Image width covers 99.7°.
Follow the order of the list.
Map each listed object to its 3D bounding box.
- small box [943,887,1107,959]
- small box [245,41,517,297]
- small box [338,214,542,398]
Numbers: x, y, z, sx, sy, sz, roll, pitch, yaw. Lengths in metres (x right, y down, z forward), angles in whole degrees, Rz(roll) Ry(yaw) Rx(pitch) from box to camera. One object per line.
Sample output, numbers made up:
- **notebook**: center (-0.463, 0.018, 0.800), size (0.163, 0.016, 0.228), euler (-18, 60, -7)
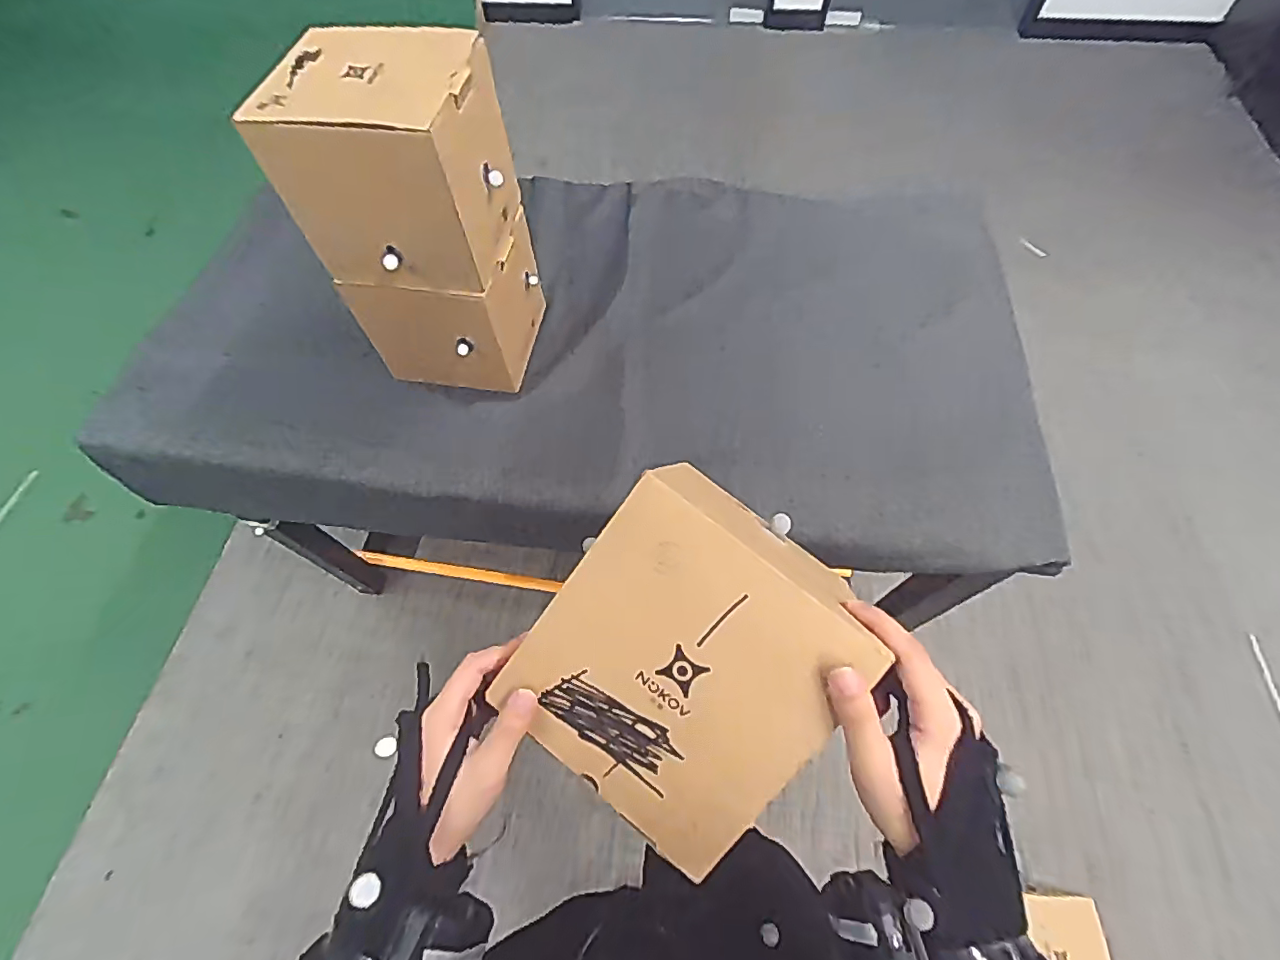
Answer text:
- **small box**: center (0.661, 0.815, 0.927), size (0.179, 0.176, 0.168), euler (1, 60, 2)
- **small box**: center (-0.240, -0.313, 0.561), size (0.179, 0.176, 0.168), euler (6, 60, 4)
- **small box**: center (-0.237, -0.224, 0.699), size (0.179, 0.176, 0.168), euler (7, 59, 5)
